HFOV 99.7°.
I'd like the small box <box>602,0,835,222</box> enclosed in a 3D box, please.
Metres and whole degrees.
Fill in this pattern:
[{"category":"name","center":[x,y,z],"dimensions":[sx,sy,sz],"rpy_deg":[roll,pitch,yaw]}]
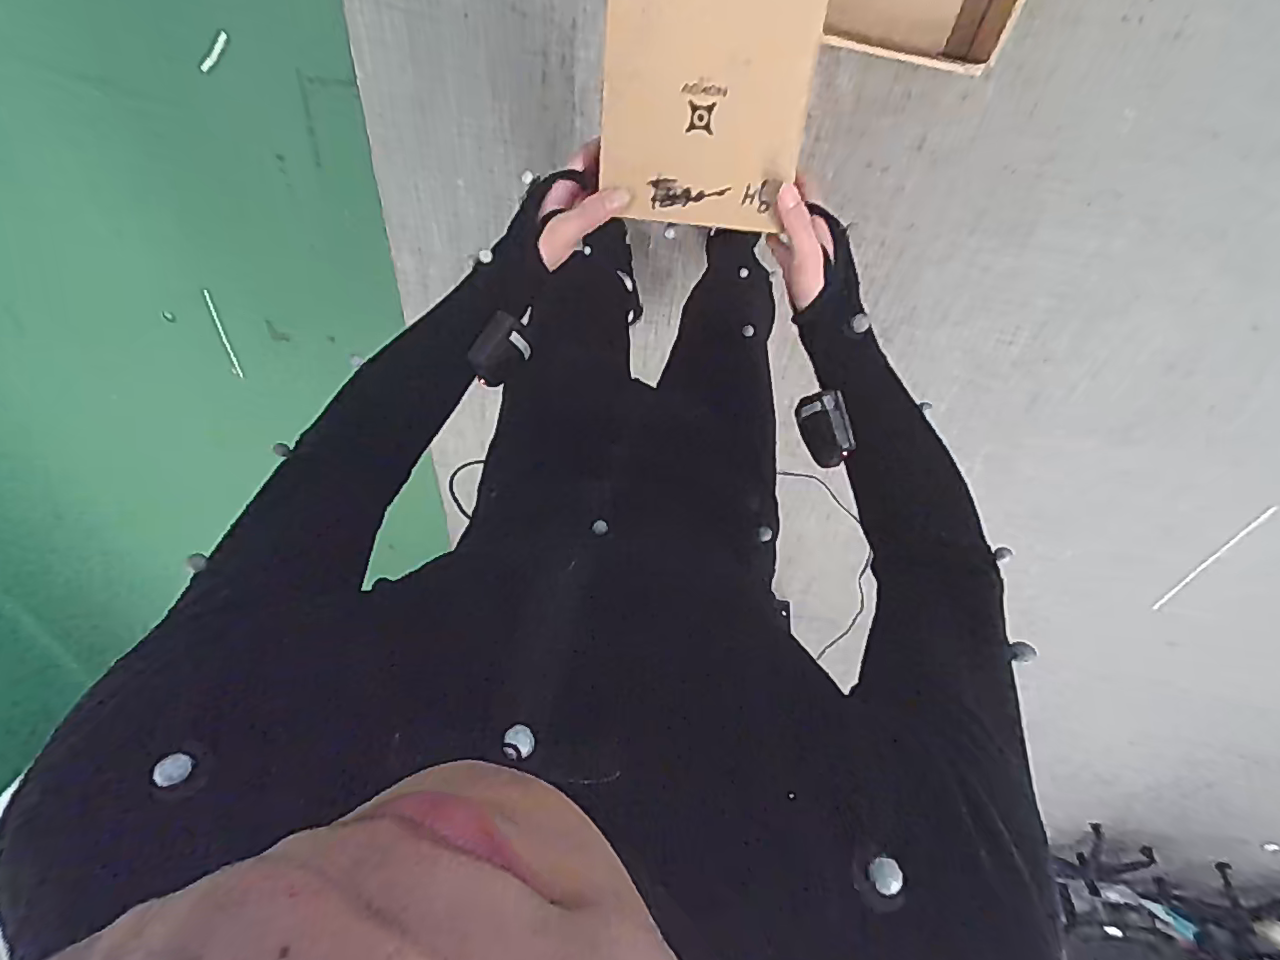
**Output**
[{"category":"small box","center":[0.065,-0.342,0.495],"dimensions":[0.168,0.176,0.179],"rpy_deg":[8,116,4]}]
